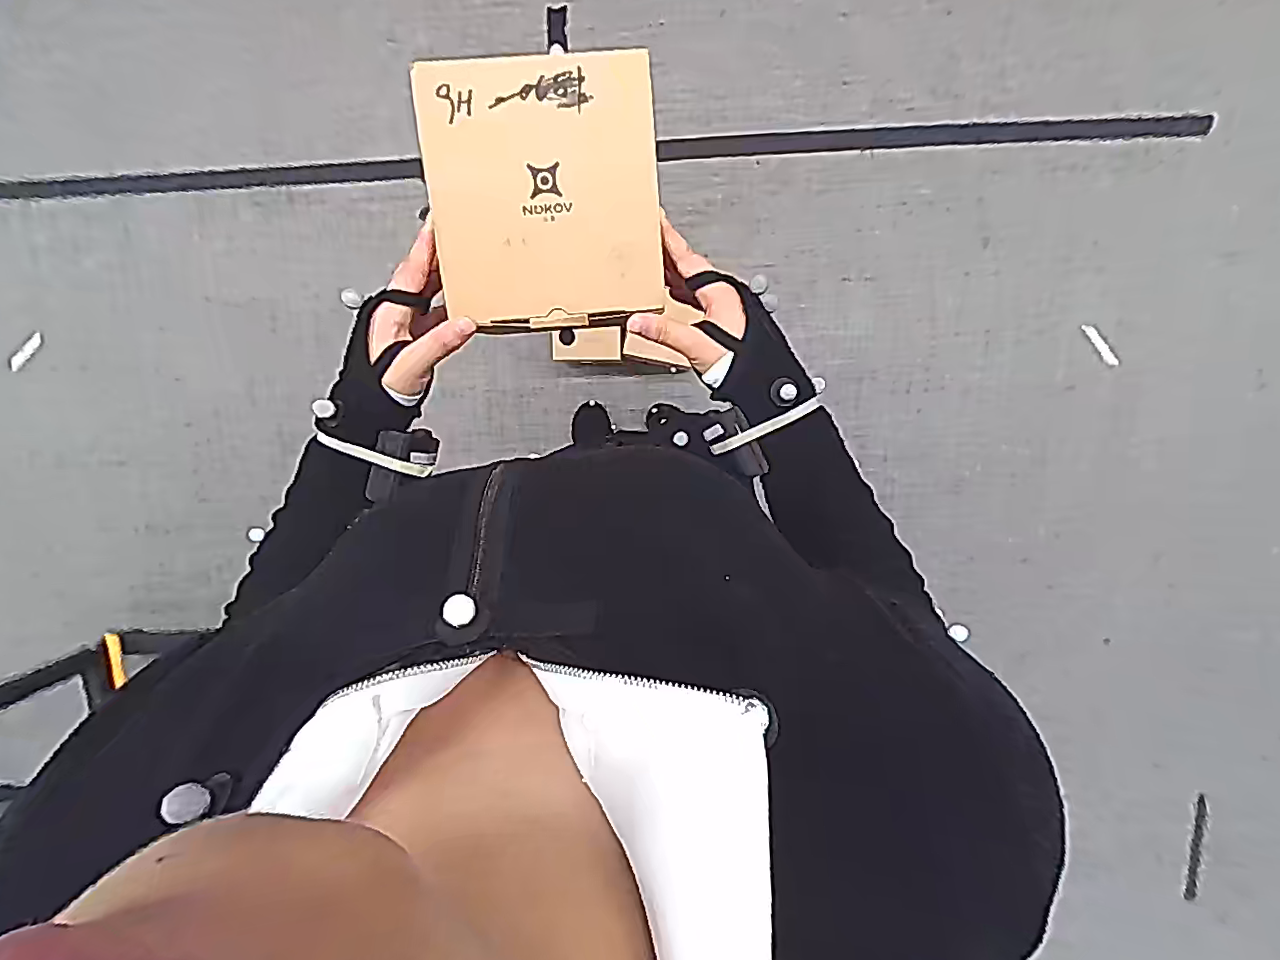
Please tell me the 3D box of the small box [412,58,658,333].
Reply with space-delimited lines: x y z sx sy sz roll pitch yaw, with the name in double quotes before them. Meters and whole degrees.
"small box" -0.075 -0.226 0.475 0.168 0.176 0.179 -6 105 -2
